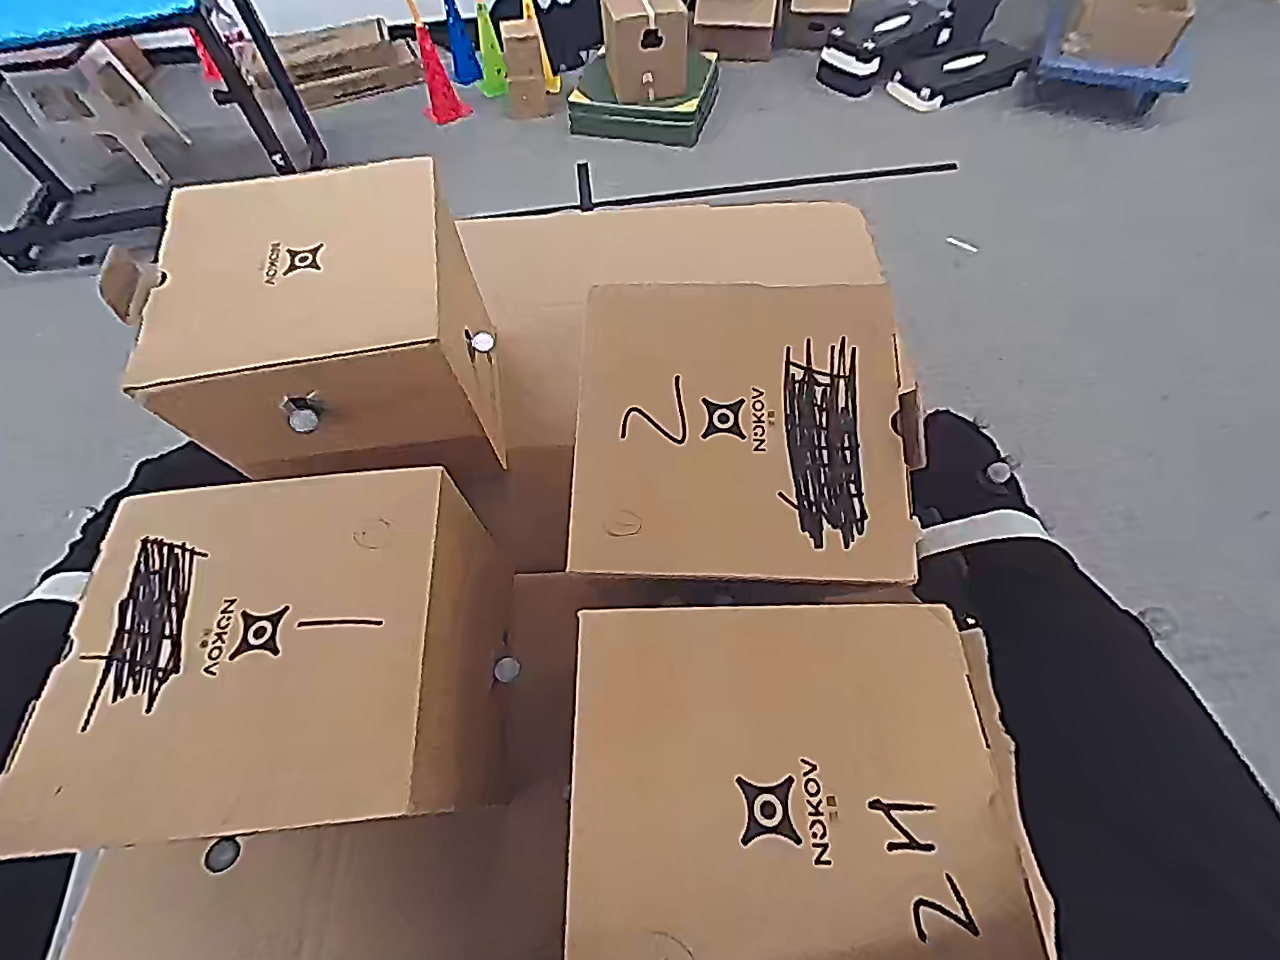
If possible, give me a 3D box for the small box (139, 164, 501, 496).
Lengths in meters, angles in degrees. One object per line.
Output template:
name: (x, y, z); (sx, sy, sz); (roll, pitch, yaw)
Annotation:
small box: (-0.213, -0.104, 0.418); (0.179, 0.176, 0.168); (-10, 64, -3)
